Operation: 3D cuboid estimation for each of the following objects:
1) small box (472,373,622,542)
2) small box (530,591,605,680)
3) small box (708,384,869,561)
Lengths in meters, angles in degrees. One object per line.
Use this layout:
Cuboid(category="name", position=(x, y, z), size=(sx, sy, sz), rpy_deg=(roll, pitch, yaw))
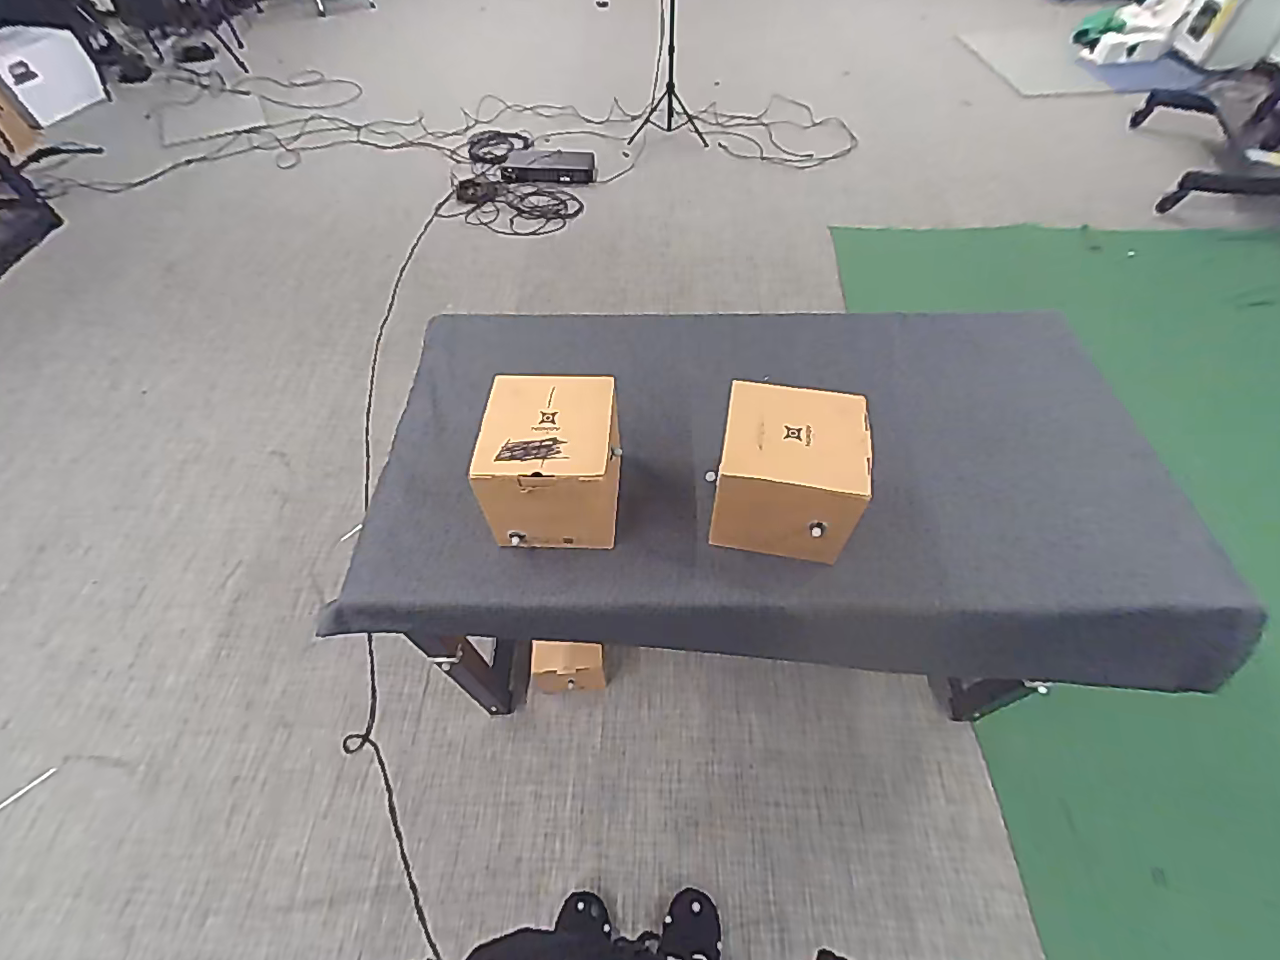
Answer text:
Cuboid(category="small box", position=(-0.115, -0.027, 0.757), size=(0.168, 0.176, 0.179), rpy_deg=(2, 53, 2))
Cuboid(category="small box", position=(-0.174, 0.396, 1.355), size=(0.168, 0.176, 0.179), rpy_deg=(-3, 56, -2))
Cuboid(category="small box", position=(0.196, -0.005, 0.742), size=(0.179, 0.176, 0.168), rpy_deg=(9, 54, 8))
